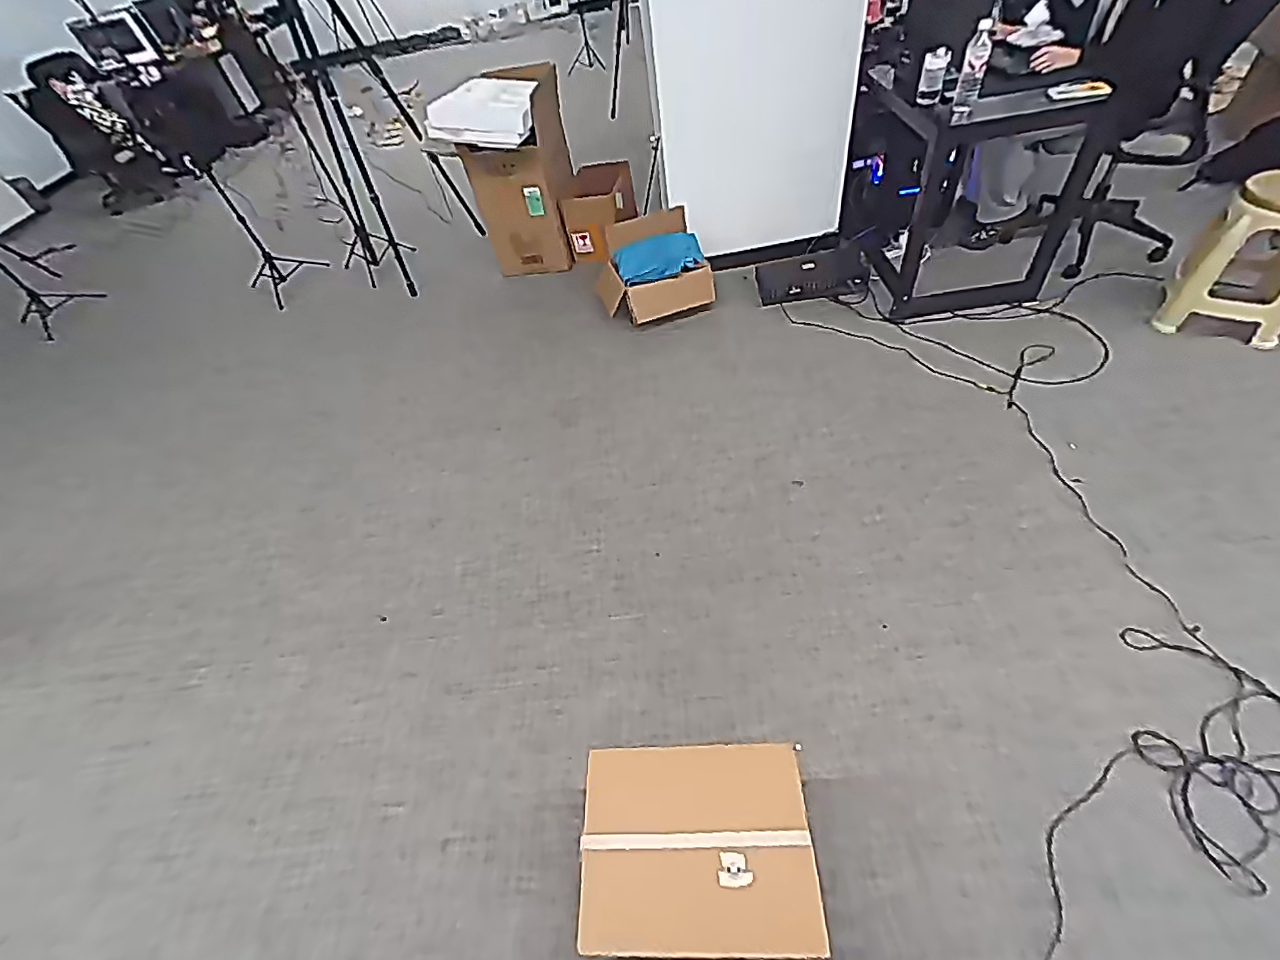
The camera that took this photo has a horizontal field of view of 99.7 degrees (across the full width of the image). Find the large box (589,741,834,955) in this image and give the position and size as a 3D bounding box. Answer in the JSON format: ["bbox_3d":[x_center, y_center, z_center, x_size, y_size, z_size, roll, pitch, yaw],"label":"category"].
[{"bbox_3d":[0.130,0.736,1.073,0.408,0.320,0.320,-5,49,7],"label":"large box"}]
